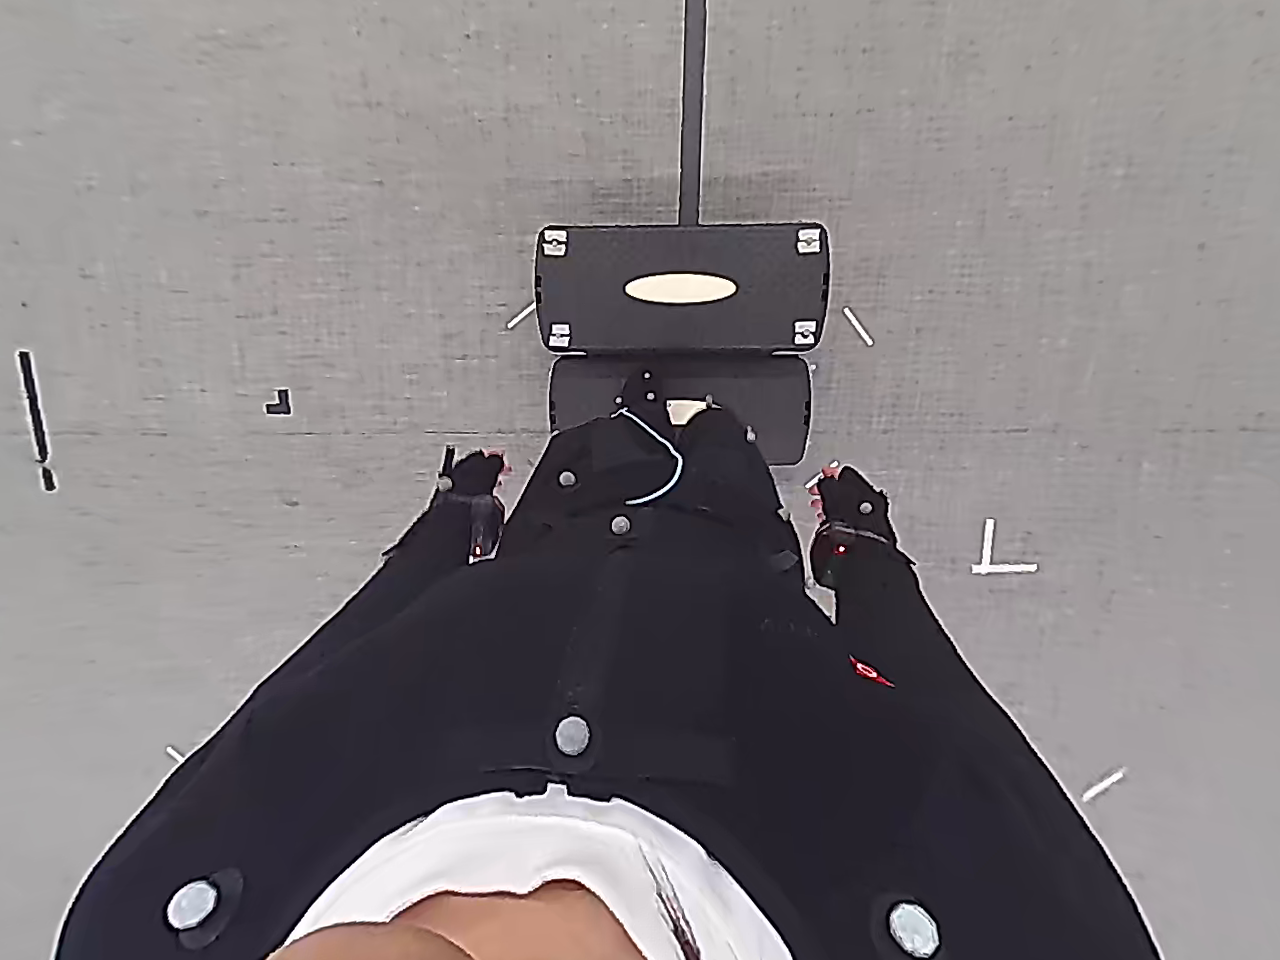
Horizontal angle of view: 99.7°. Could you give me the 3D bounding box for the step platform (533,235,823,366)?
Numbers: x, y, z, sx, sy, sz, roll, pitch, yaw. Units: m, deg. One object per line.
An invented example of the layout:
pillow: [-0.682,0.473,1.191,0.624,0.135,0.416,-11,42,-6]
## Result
step platform: [0.086,-0.429,1.315,0.684,0.204,0.286,-1,103,2]
